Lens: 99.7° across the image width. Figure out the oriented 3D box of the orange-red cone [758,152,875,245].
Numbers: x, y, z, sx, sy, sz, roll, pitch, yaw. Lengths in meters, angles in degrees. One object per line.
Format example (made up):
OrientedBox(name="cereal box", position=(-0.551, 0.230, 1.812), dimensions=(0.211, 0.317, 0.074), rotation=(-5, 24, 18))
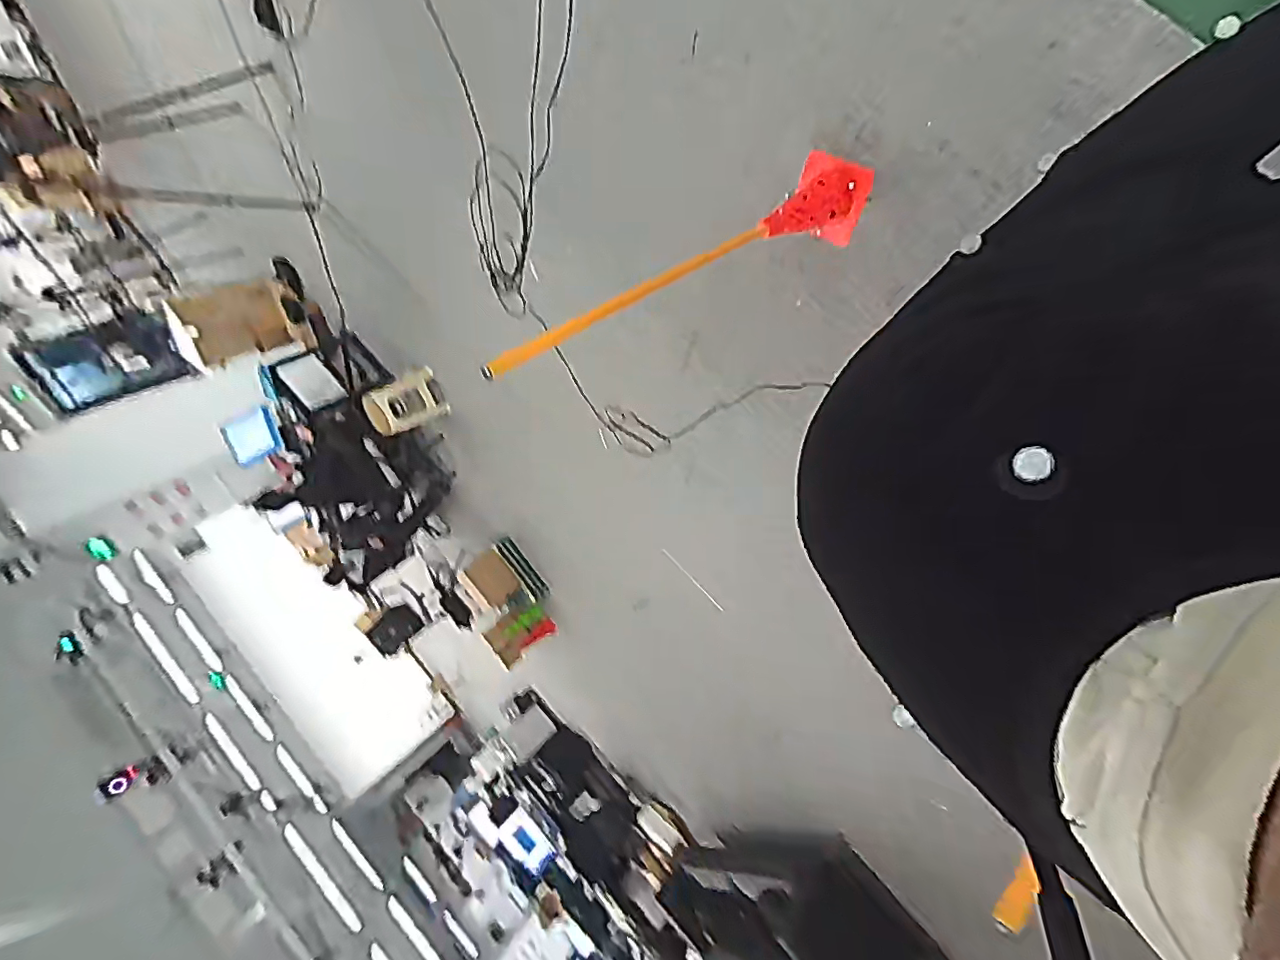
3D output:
OrientedBox(name="orange-red cone", position=(0.417, -0.698, 1.409), dimensions=(0.199, 0.360, 0.198), rotation=(39, 143, 22))
